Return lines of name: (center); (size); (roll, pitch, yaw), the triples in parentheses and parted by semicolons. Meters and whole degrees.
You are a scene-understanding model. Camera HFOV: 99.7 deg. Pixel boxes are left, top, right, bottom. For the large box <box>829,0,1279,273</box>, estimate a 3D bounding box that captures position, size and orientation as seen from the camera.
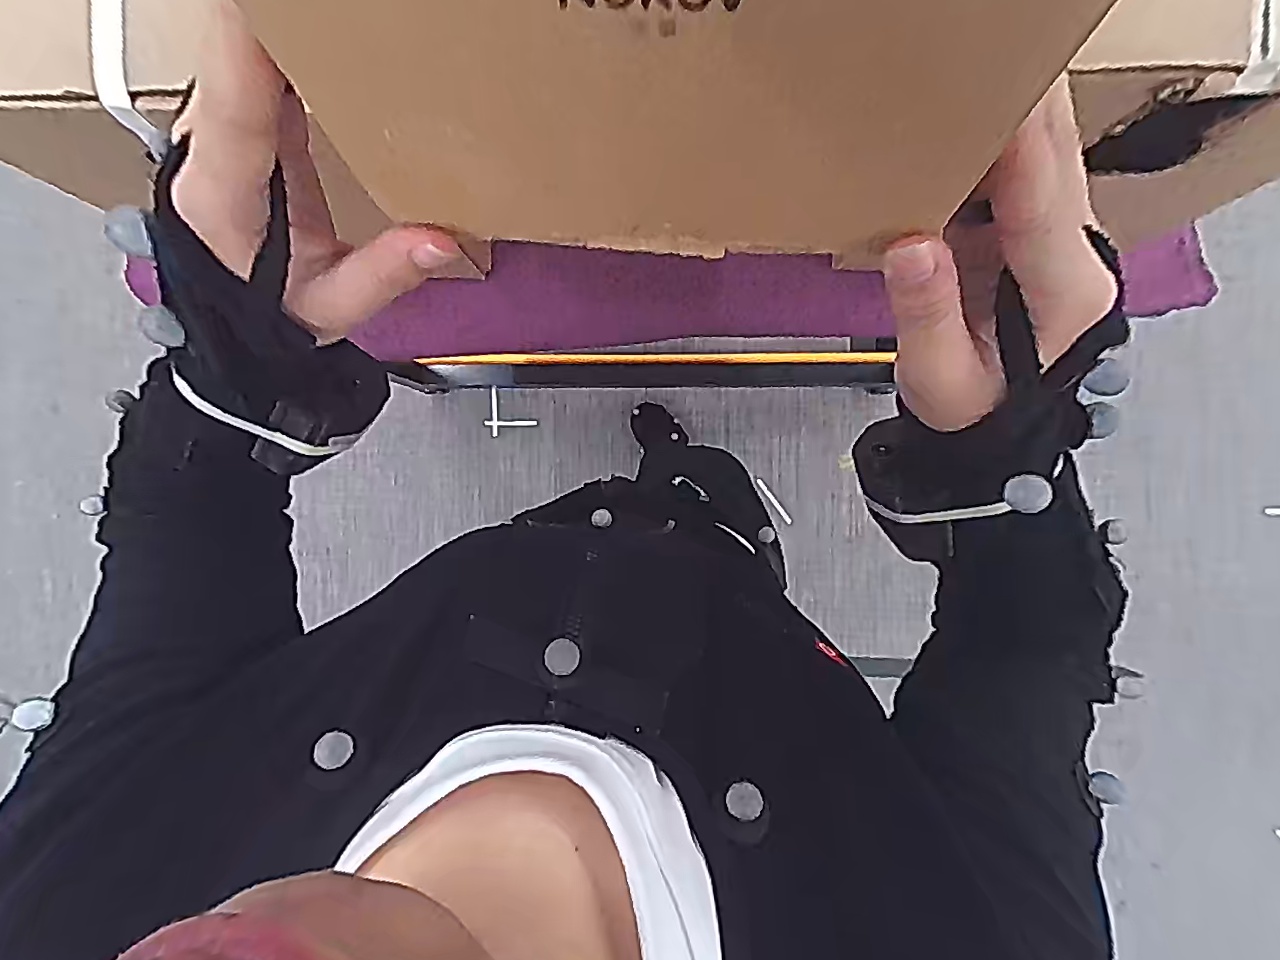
large box: (0.368, -0.442, 0.479); (0.320, 0.320, 0.408); (-1, 89, 1)
